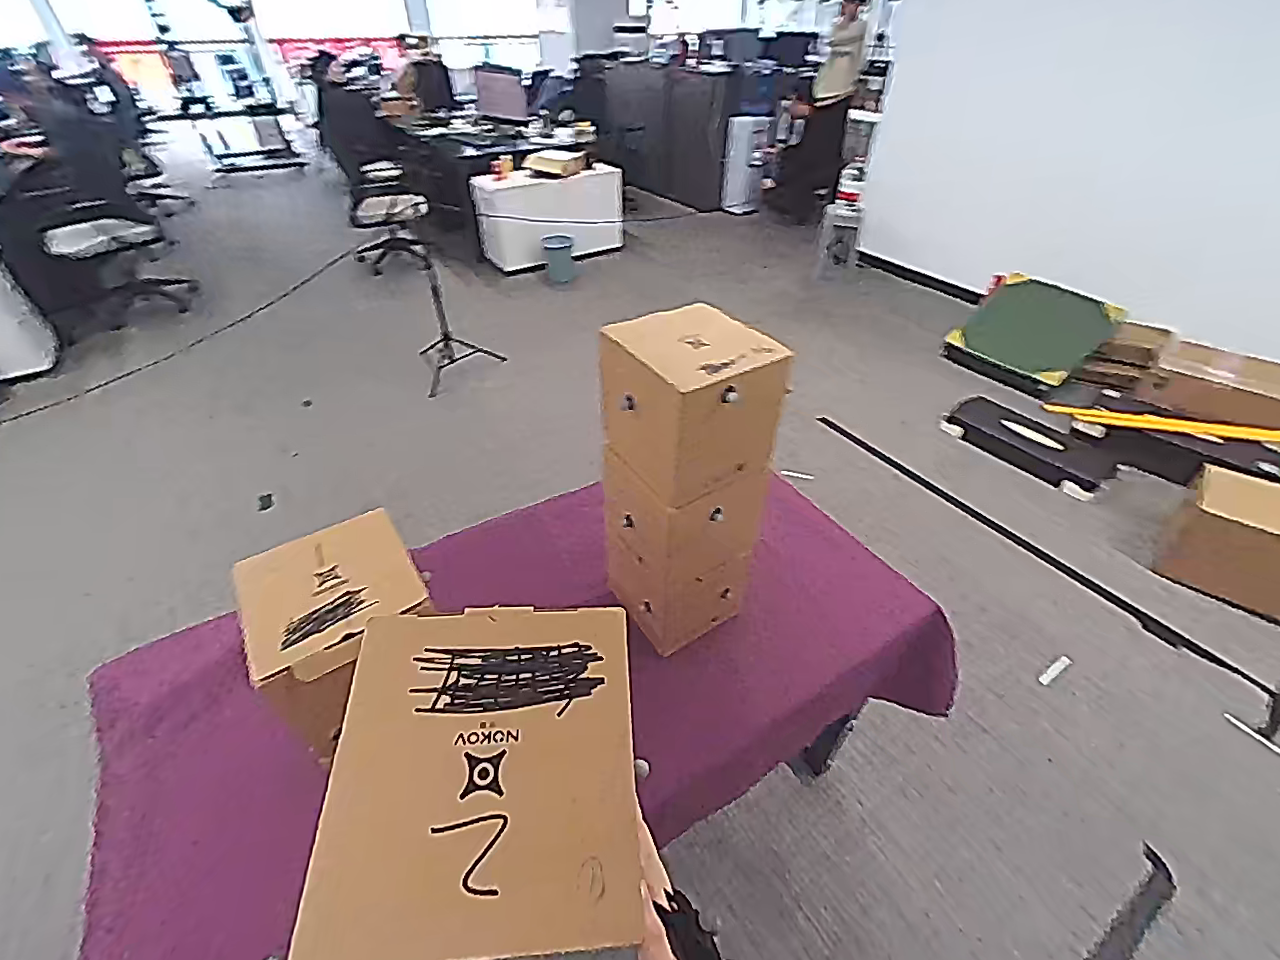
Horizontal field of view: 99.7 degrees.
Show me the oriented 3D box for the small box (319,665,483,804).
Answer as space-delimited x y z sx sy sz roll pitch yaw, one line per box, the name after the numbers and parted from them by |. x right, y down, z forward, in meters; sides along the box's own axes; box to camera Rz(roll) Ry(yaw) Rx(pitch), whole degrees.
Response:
-0.332 0.295 0.739 0.168 0.176 0.179 -23 47 -25 | small box

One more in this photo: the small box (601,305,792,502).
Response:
0.062 -0.101 0.696 0.168 0.176 0.179 -23 46 -25 | small box

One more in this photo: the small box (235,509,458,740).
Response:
-0.332 0.171 0.631 0.168 0.176 0.179 -24 47 -26 | small box

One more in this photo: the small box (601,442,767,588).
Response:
0.060 0.027 0.798 0.179 0.176 0.168 -23 47 -26 | small box

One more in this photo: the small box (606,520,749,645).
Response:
0.058 0.149 0.908 0.168 0.176 0.179 -23 46 -25 | small box
